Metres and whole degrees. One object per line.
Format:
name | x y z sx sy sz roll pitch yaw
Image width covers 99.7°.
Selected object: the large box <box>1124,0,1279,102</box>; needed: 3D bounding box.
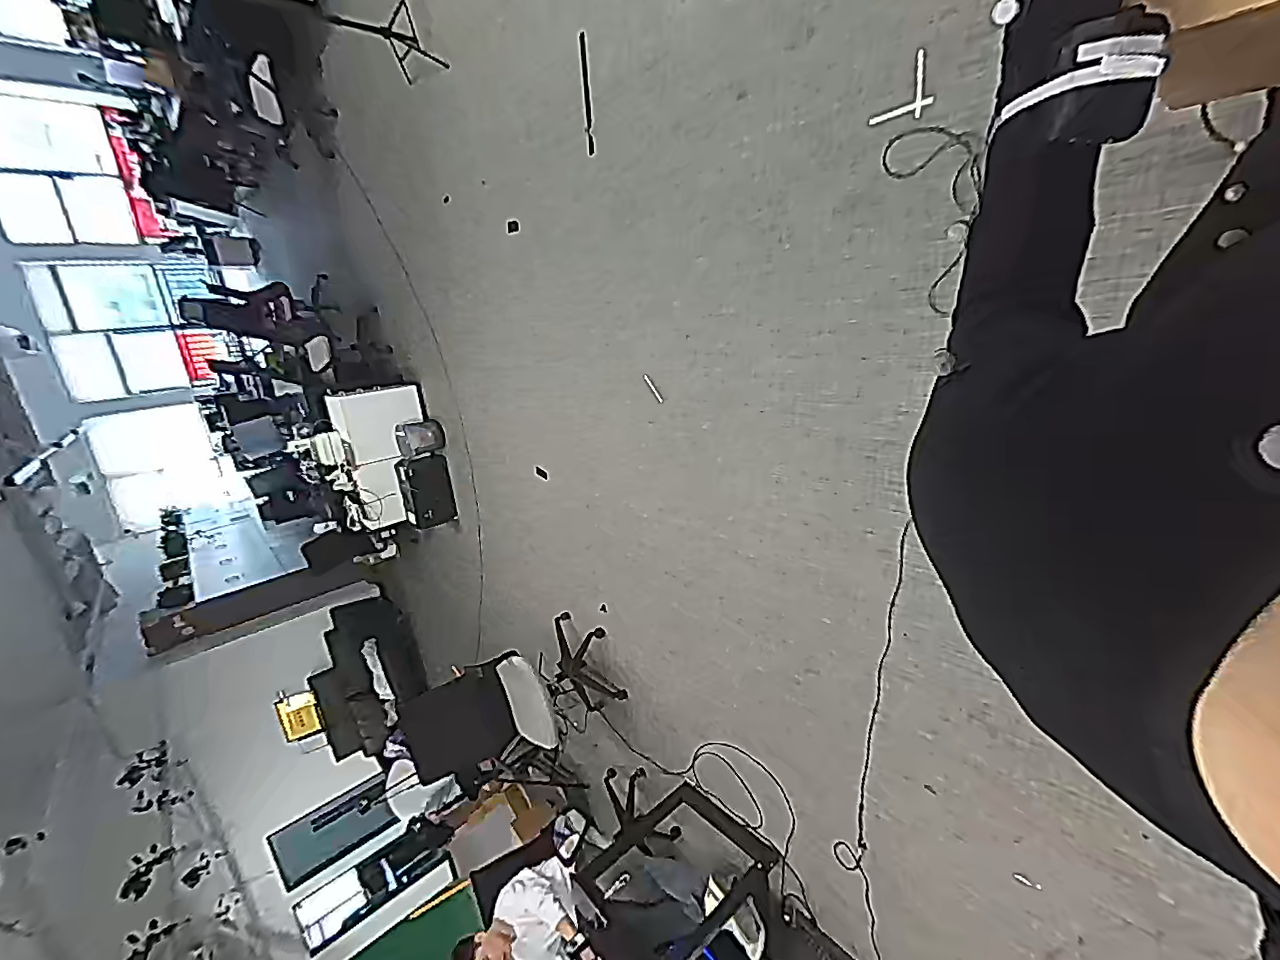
large box | 0.545 -0.454 0.270 0.408 0.320 0.320 12 117 45
